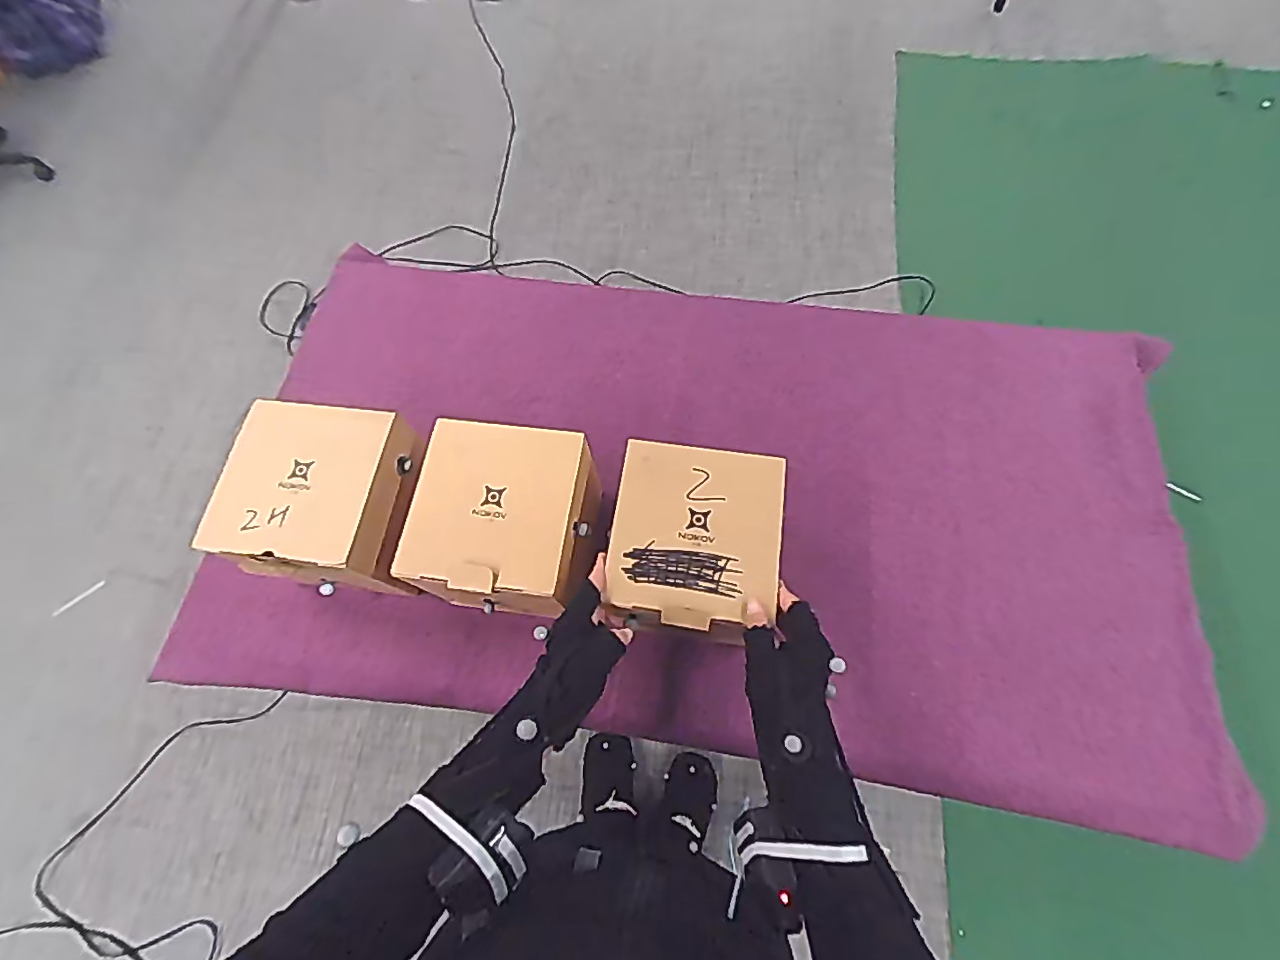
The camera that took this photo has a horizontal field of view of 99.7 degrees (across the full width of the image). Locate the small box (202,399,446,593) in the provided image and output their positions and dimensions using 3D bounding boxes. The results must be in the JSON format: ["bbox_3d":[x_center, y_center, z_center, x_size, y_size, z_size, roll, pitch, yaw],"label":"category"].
[{"bbox_3d":[-0.352,0.026,0.647,0.168,0.176,0.179,6,69,5],"label":"small box"}]
